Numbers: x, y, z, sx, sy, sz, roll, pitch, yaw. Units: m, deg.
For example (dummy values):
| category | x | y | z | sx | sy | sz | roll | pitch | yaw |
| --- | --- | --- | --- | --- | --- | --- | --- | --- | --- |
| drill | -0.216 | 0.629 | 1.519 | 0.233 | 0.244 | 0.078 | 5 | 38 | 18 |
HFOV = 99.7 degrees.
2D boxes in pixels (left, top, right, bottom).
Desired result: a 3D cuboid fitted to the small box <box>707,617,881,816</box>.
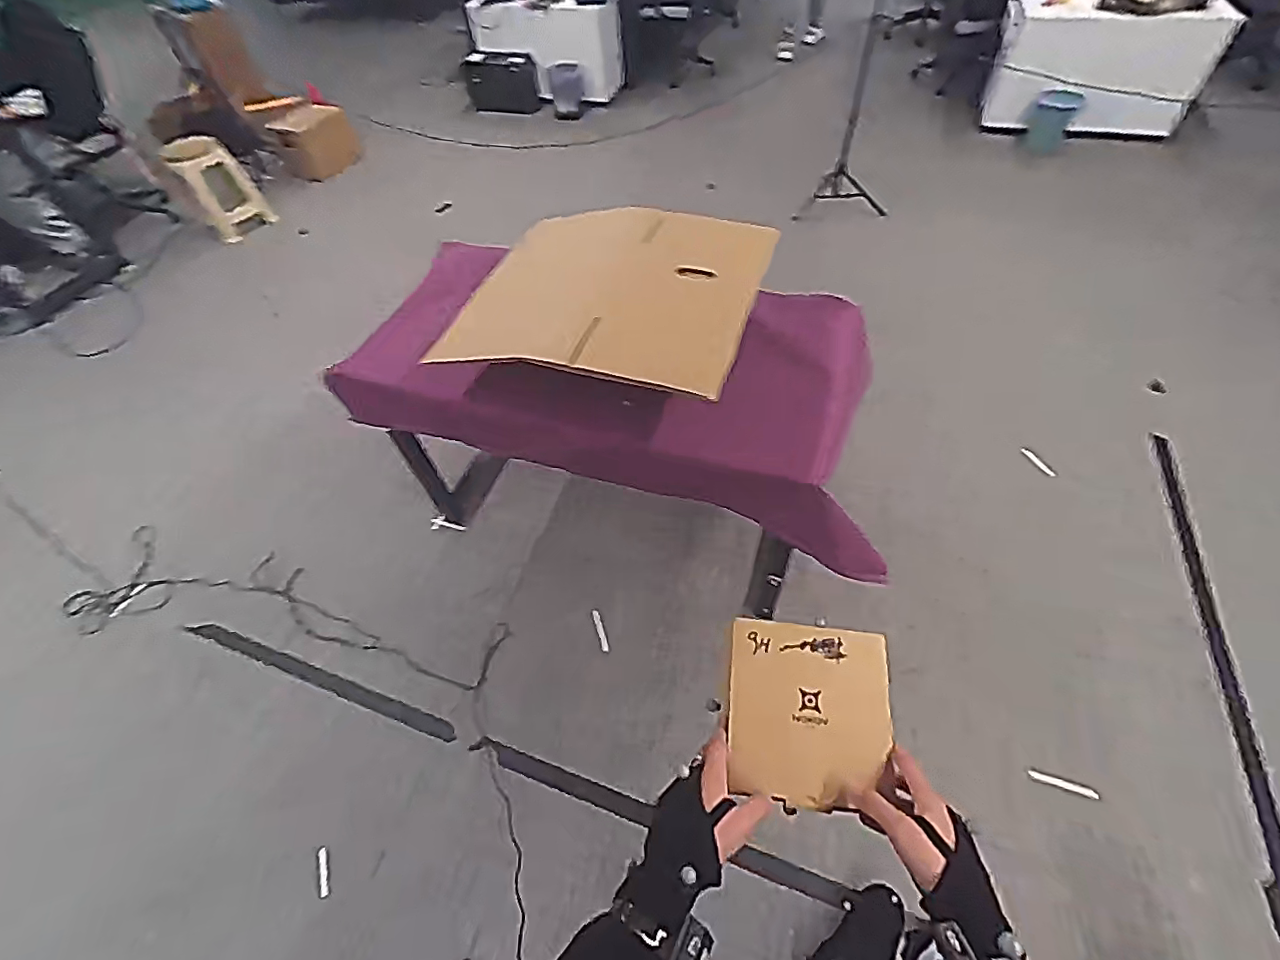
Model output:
| category | x | y | z | sx | sy | sz | roll | pitch | yaw |
| --- | --- | --- | --- | --- | --- | --- | --- | --- | --- |
| small box | 0.171 | 0.274 | 0.639 | 0.168 | 0.176 | 0.179 | 5 | 65 | 5 |
